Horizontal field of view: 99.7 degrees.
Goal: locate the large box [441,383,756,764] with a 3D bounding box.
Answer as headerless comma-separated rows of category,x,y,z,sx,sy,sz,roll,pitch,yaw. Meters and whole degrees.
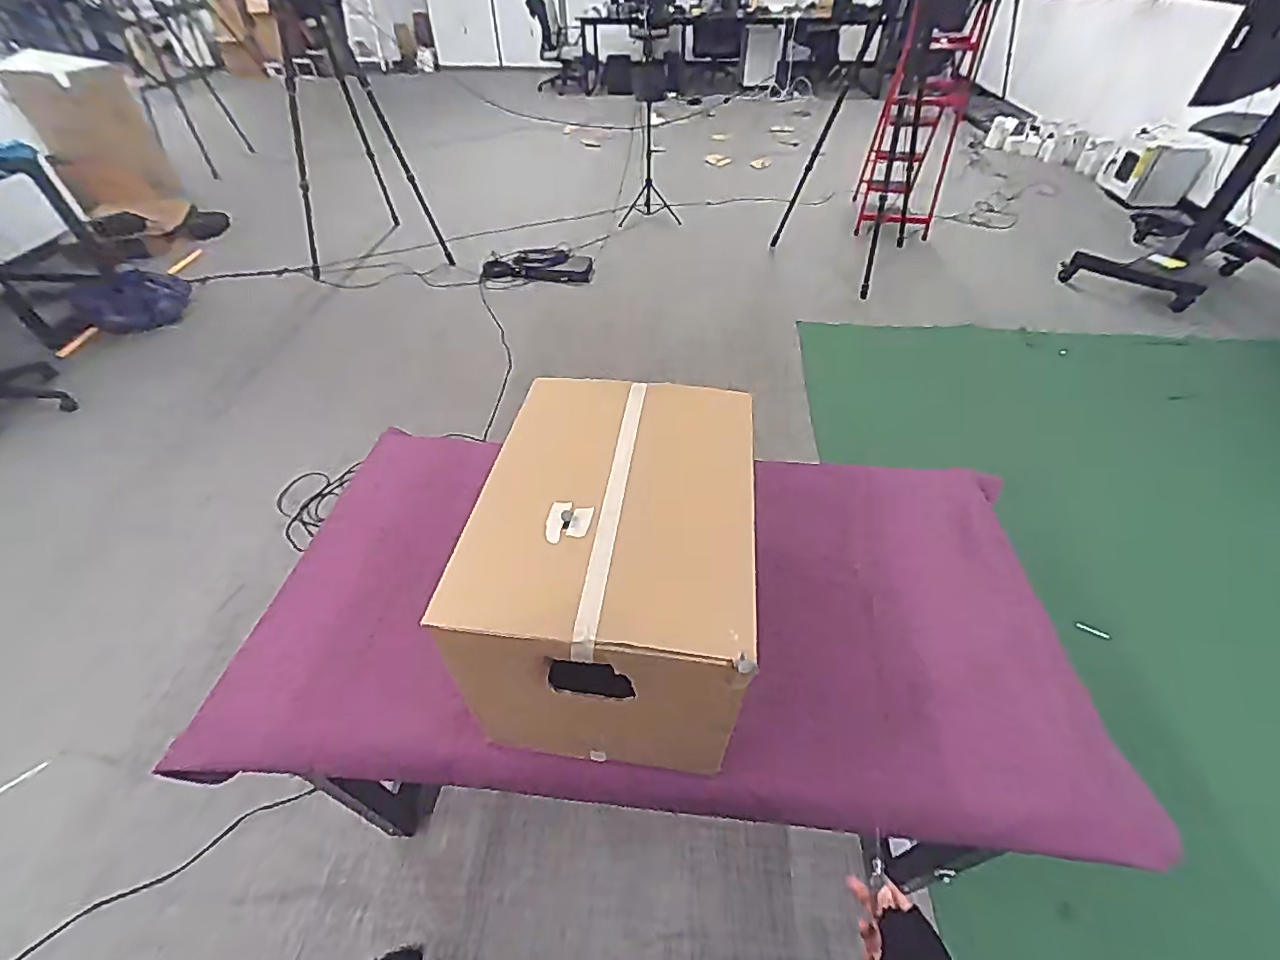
large box,-0.023,0.117,0.752,0.320,0.320,0.408,6,47,5
